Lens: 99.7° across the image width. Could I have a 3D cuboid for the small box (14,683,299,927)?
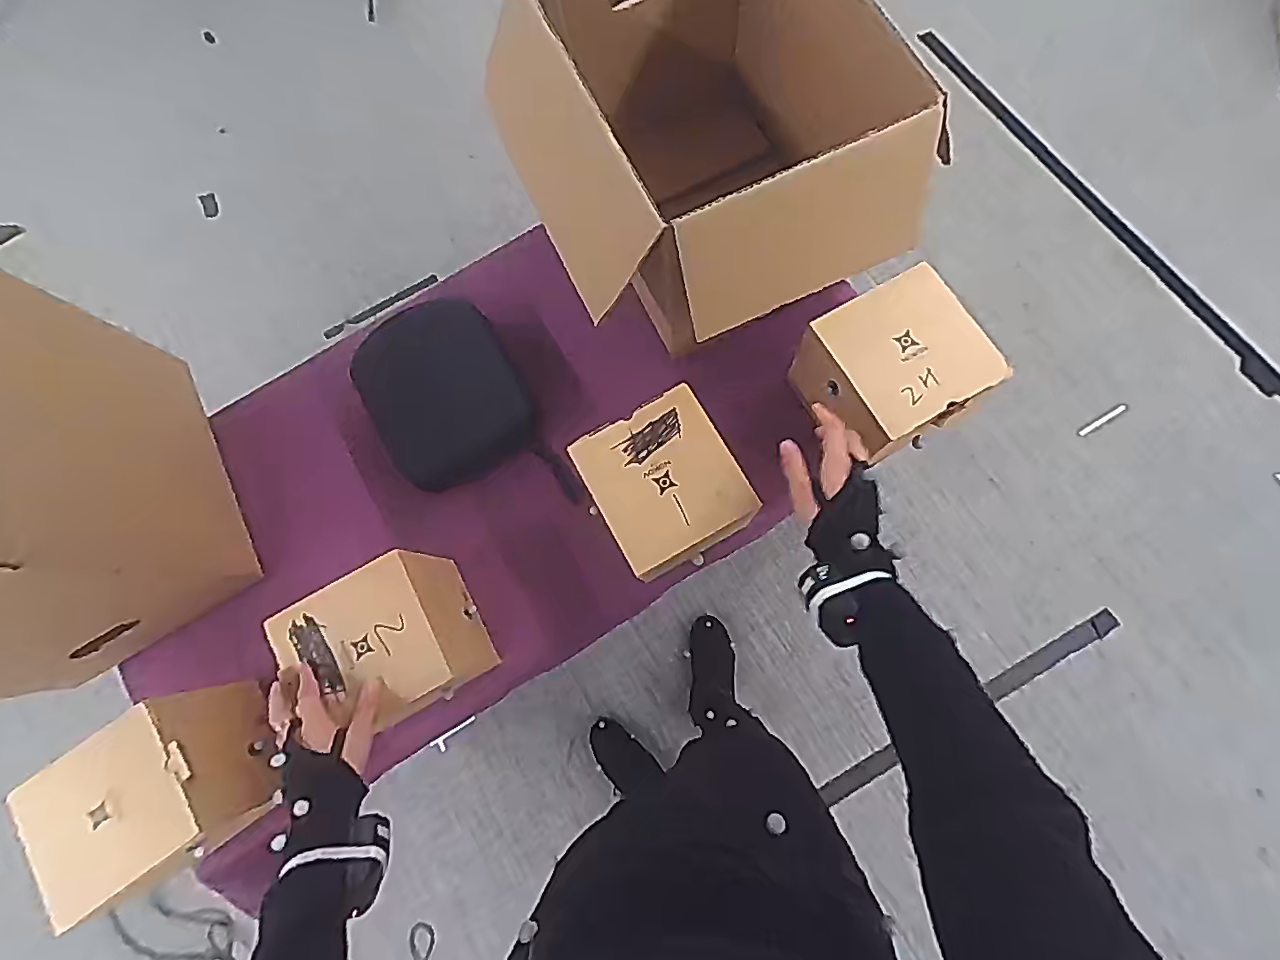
[{"bbox_3d":[-0.577,0.377,0.667,0.179,0.176,0.168,-35,77,-5],"label":"small box"}]
